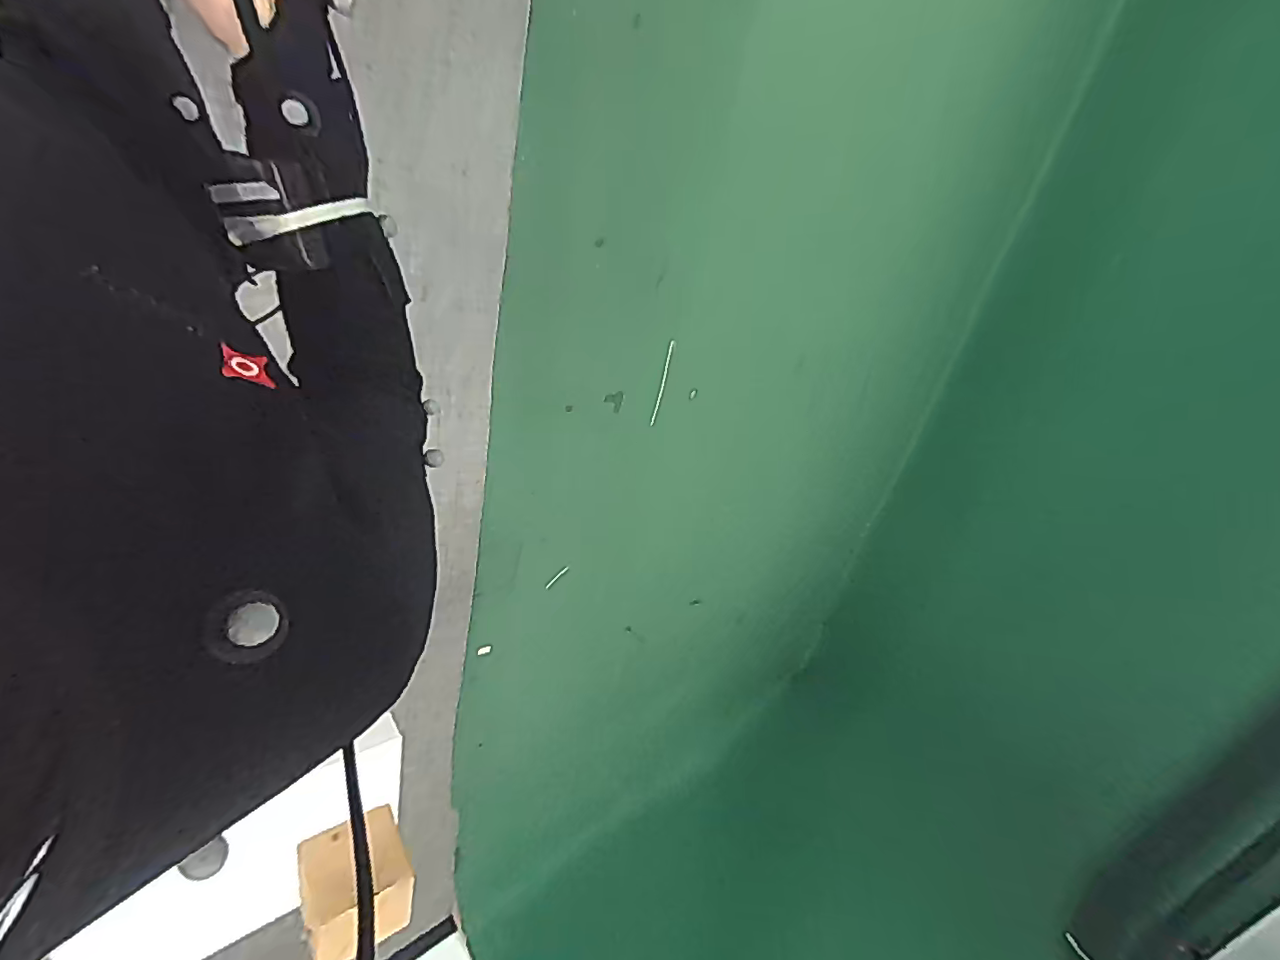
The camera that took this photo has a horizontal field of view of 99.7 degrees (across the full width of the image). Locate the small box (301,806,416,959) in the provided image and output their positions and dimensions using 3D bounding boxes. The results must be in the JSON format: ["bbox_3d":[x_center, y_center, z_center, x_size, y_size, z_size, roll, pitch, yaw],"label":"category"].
[{"bbox_3d":[-0.556,0.794,1.065,0.168,0.176,0.179,-8,122,-40],"label":"small box"}]
